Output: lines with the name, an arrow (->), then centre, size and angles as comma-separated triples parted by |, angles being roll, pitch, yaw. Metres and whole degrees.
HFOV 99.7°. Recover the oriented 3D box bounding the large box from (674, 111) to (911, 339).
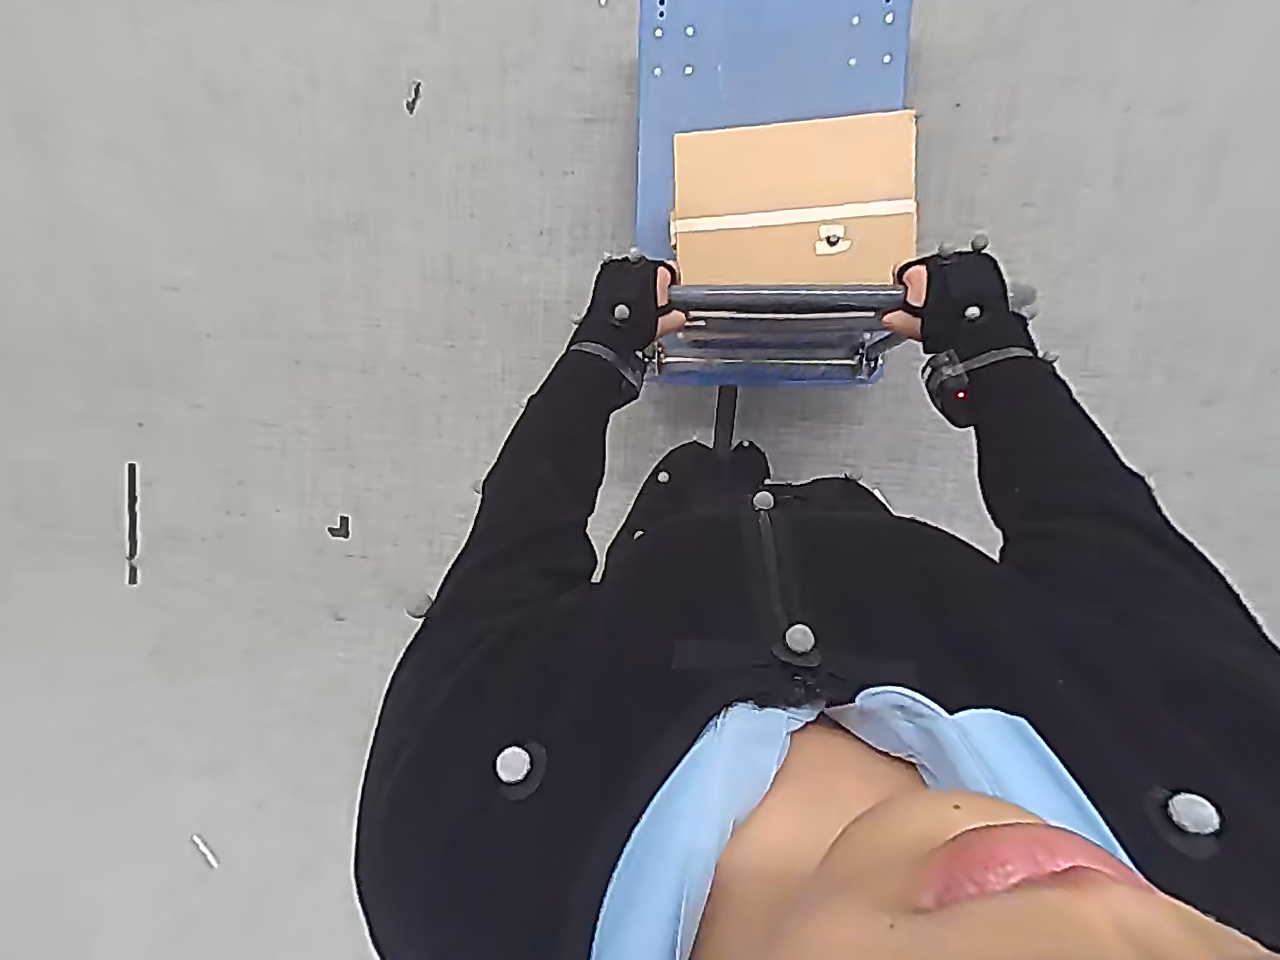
large box -> 0.281, -0.477, 1.096 | 0.408, 0.320, 0.320 | -2, 96, 6
